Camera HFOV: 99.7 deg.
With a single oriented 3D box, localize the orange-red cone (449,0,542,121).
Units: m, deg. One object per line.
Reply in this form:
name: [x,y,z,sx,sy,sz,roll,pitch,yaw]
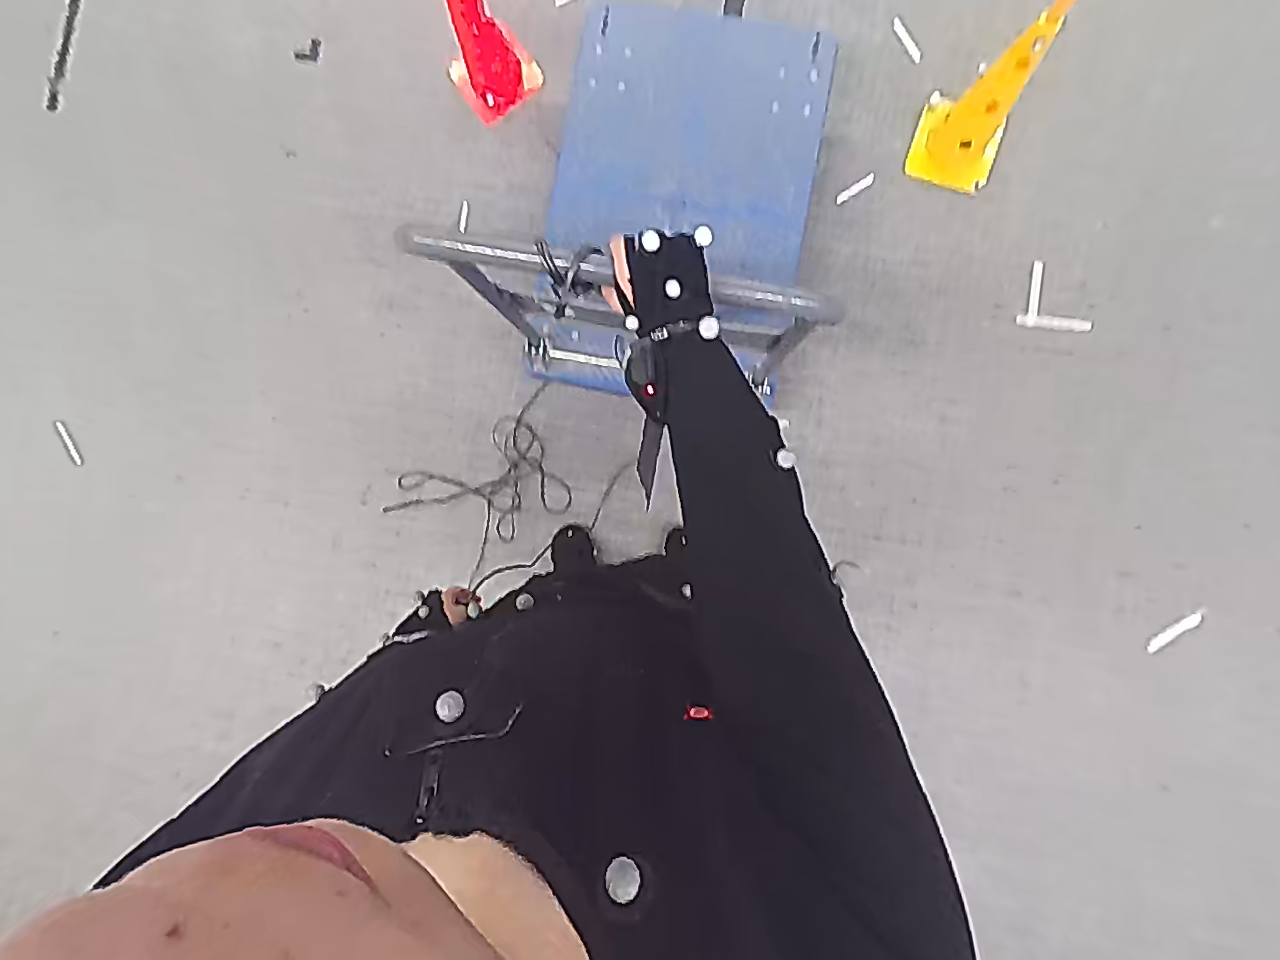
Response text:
orange-red cone: [-0.389,-1.074,1.253,0.199,0.360,0.198,-35,87,1]
